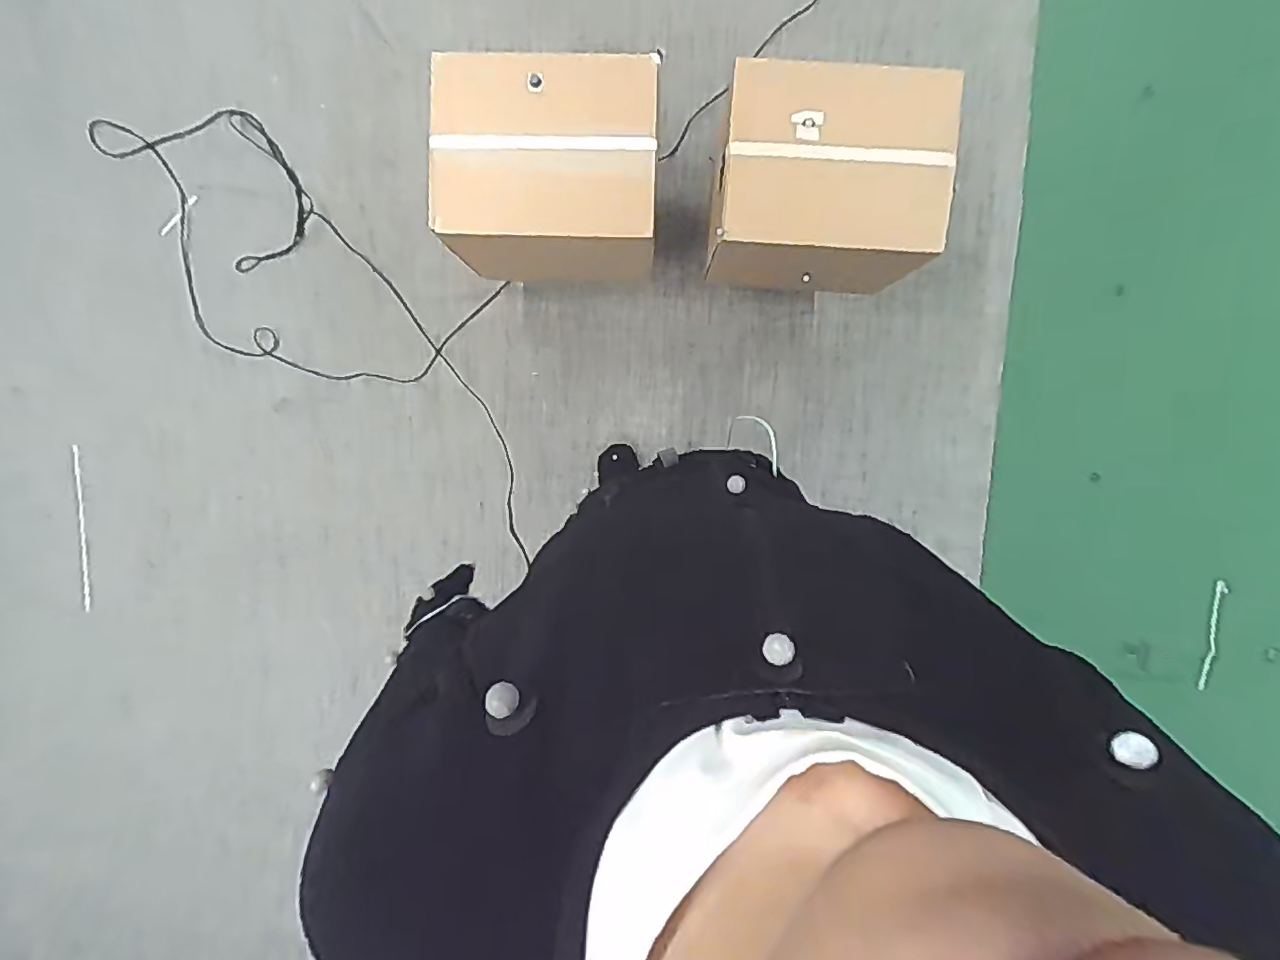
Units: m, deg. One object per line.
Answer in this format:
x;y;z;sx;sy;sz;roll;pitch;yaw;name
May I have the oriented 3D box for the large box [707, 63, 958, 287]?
0.362;-0.598;1.123;0.408;0.320;0.320;4;95;1;large box
